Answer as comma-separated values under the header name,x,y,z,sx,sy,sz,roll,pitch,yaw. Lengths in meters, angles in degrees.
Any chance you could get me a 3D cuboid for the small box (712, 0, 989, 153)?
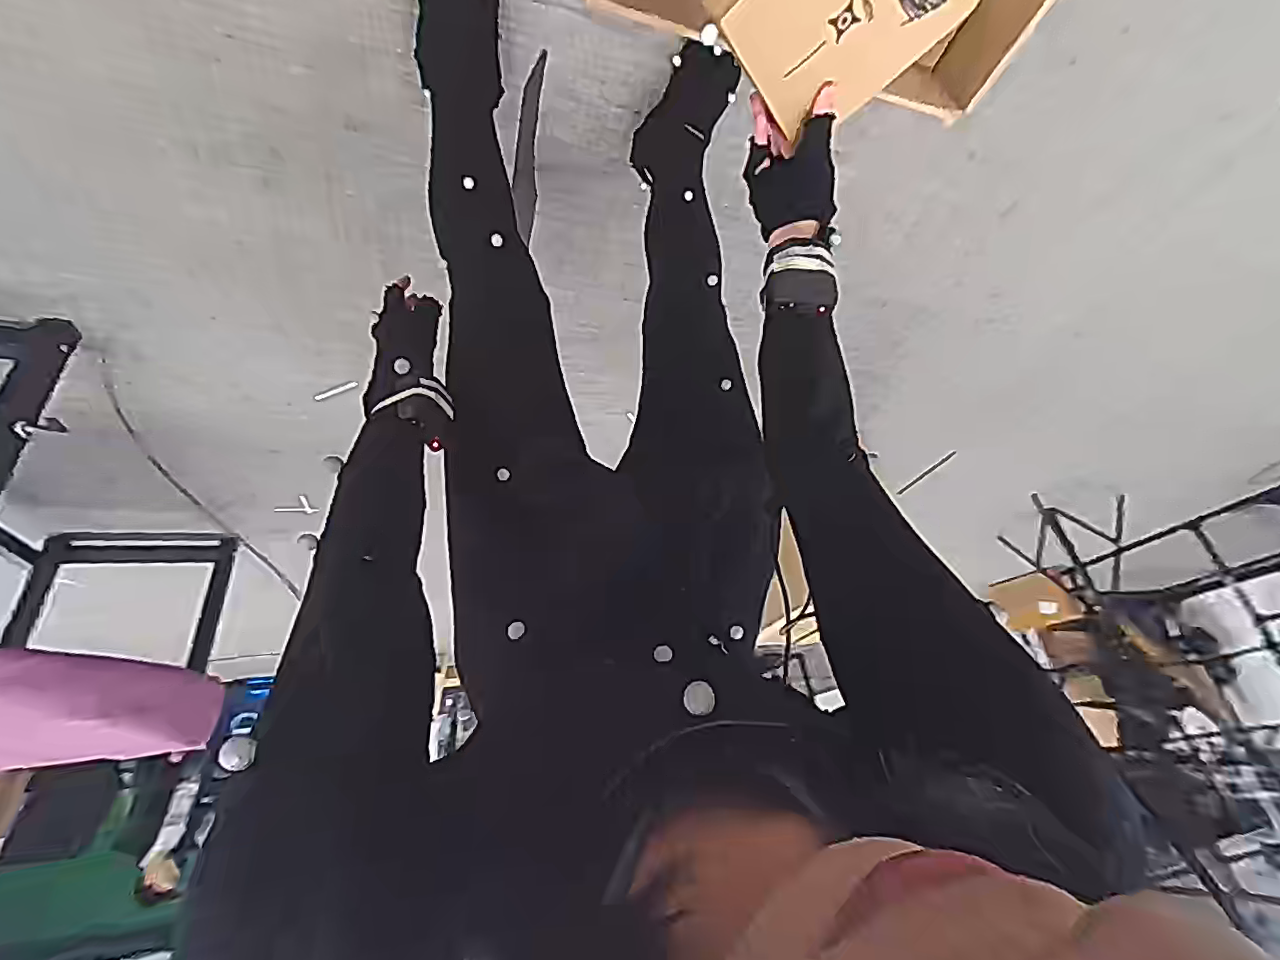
name,x,y,z,sx,sy,sz,roll,pitch,yaw
small box,0.161,-0.447,0.466,0.179,0.176,0.168,-30,151,28
